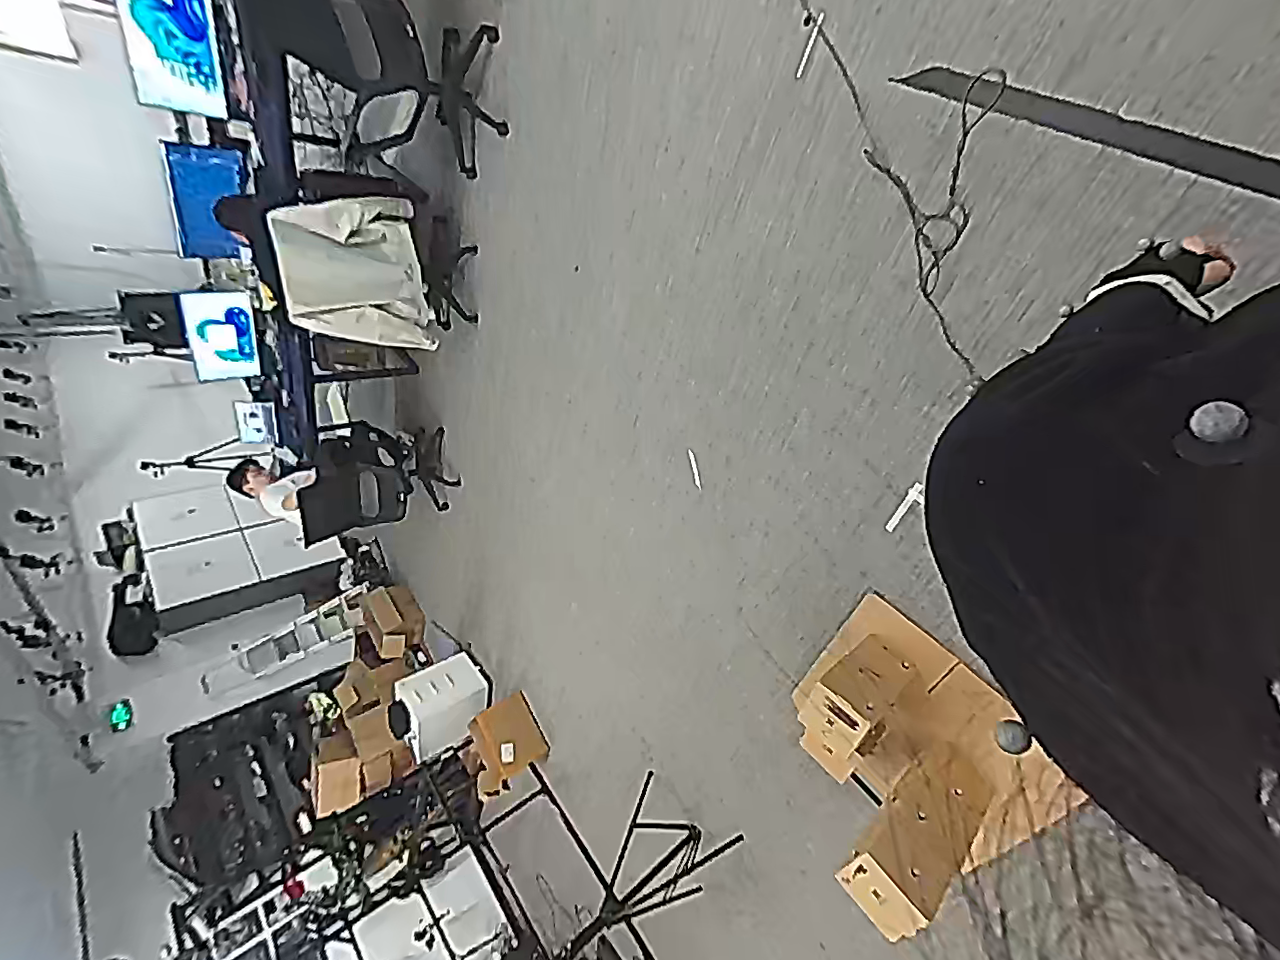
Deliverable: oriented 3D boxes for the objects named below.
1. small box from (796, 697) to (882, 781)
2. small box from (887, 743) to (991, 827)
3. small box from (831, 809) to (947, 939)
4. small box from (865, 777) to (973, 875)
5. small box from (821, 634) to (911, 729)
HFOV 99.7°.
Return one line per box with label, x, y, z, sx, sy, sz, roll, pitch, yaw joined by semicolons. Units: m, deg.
small box;0.650;0.828;1.766;0.179;0.176;0.168;39;130;32
small box;0.859;0.890;1.552;0.179;0.176;0.168;45;132;27
small box;0.620;0.971;1.341;0.179;0.176;0.168;43;131;28
small box;0.740;0.930;1.445;0.179;0.176;0.168;46;133;26
small box;0.690;0.603;1.639;0.168;0.176;0.179;39;130;33
